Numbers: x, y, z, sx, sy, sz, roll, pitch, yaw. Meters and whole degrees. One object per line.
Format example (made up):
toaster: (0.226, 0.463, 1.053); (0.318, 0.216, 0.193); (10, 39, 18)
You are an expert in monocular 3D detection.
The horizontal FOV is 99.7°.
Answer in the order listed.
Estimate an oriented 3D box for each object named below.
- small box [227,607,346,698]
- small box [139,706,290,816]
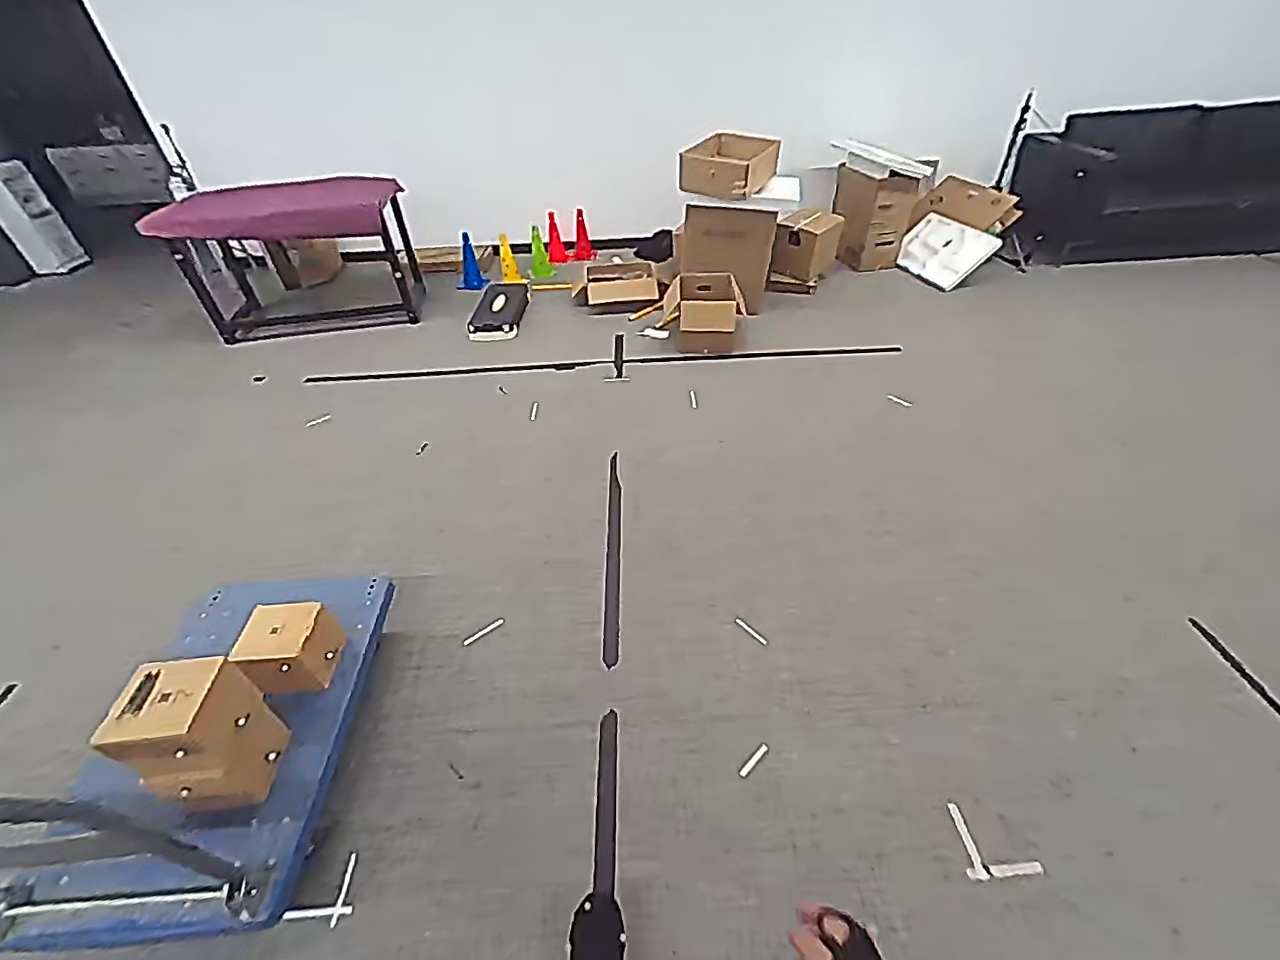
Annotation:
small box: (-0.917, 0.456, 1.423); (0.179, 0.176, 0.168); (-4, 41, -1)
small box: (-0.941, 0.634, 1.216); (0.179, 0.176, 0.168); (-5, 41, -2)
